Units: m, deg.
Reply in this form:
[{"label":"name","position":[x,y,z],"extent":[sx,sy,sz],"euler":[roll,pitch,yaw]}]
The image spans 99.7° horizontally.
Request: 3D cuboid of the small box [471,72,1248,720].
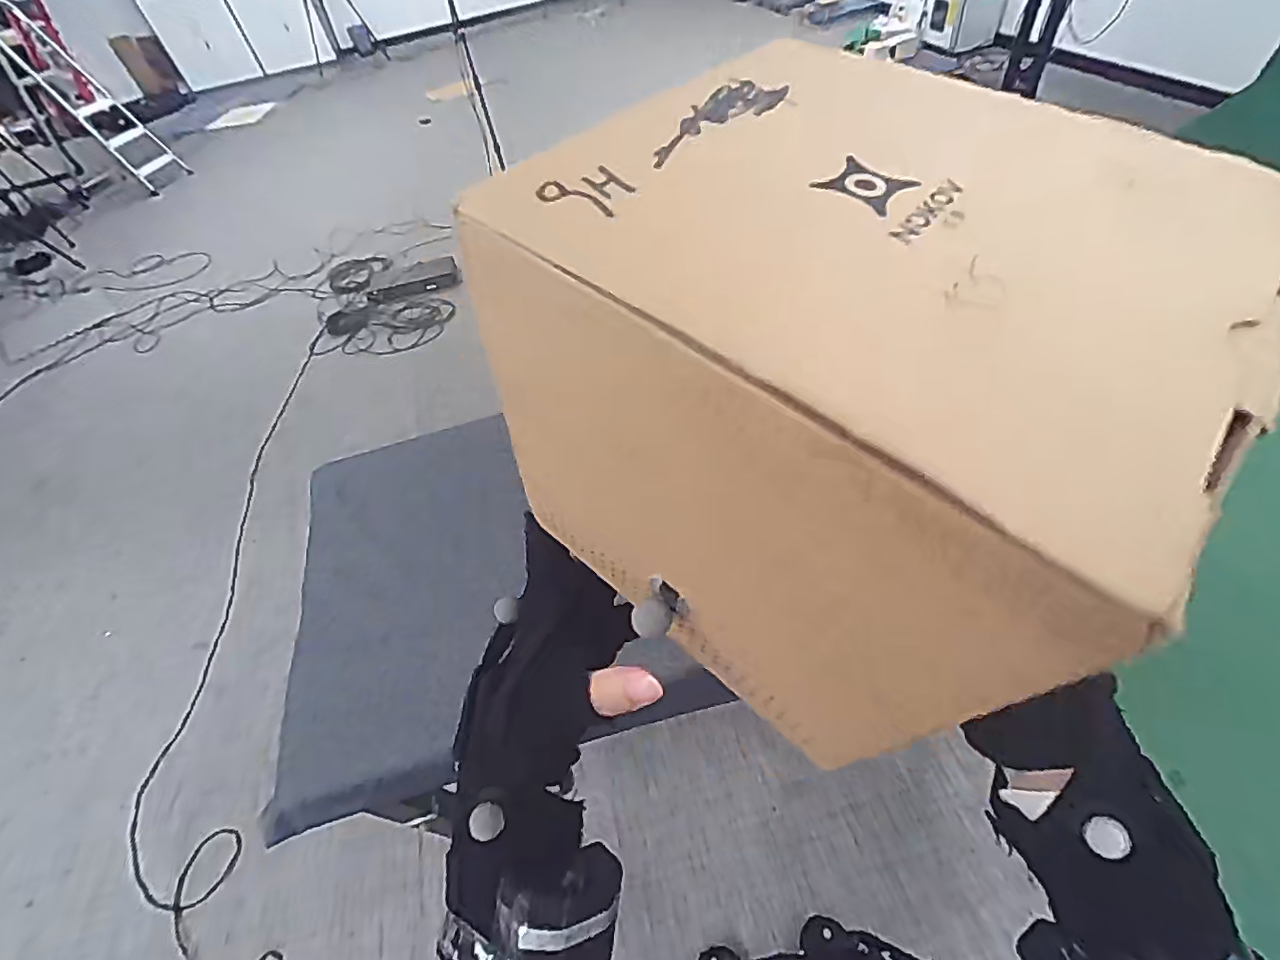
[{"label":"small box","position":[0.065,-0.027,0.226],"extent":[0.179,0.176,0.168],"euler":[36,61,22]}]
